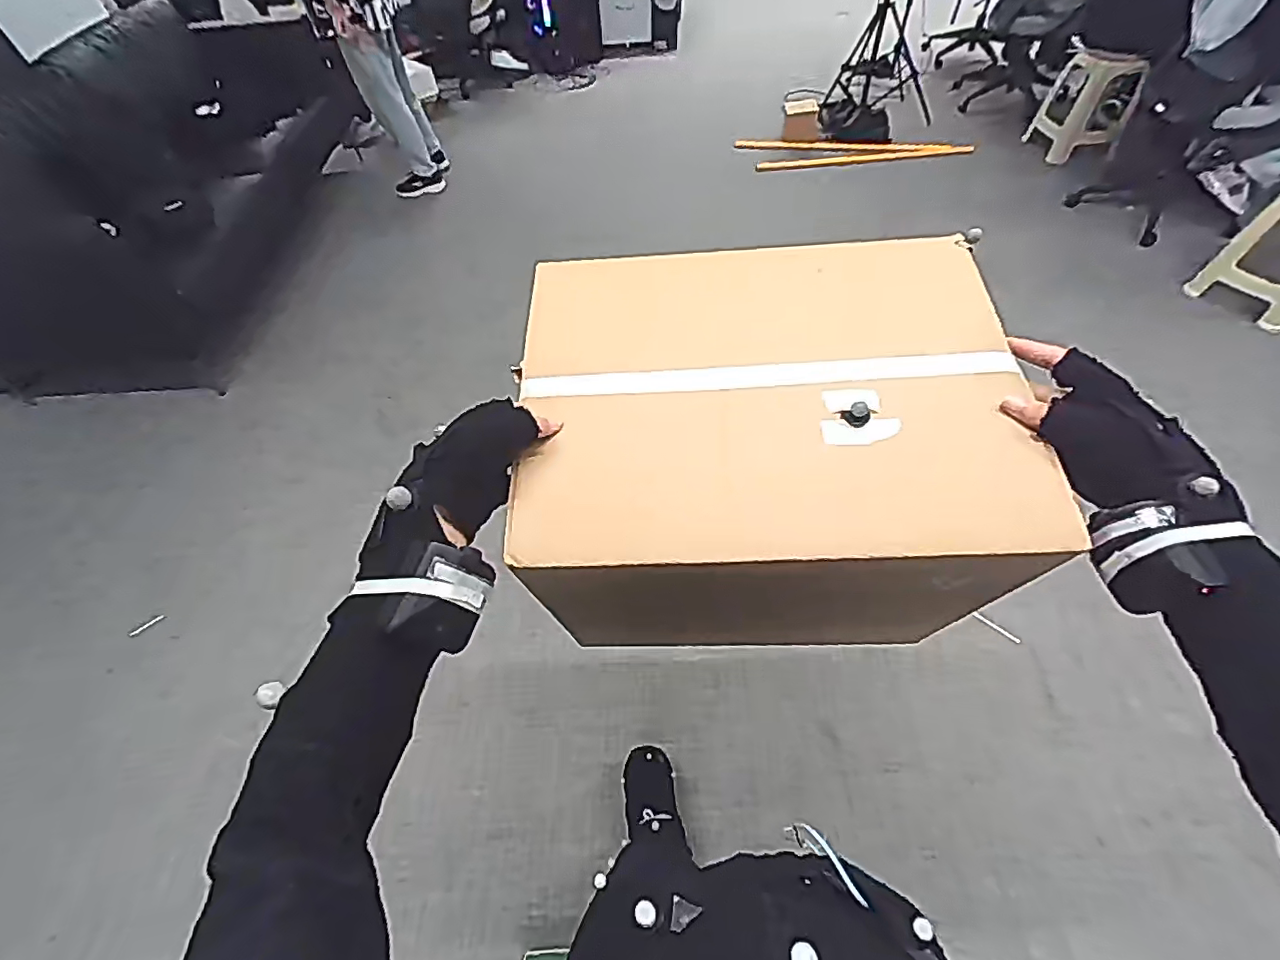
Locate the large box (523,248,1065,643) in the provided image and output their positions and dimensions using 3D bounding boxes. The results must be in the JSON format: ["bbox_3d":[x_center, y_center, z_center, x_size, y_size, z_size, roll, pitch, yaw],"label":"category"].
[{"bbox_3d":[0.113,-0.013,0.595,0.408,0.320,0.320,-2,63,3],"label":"large box"}]
